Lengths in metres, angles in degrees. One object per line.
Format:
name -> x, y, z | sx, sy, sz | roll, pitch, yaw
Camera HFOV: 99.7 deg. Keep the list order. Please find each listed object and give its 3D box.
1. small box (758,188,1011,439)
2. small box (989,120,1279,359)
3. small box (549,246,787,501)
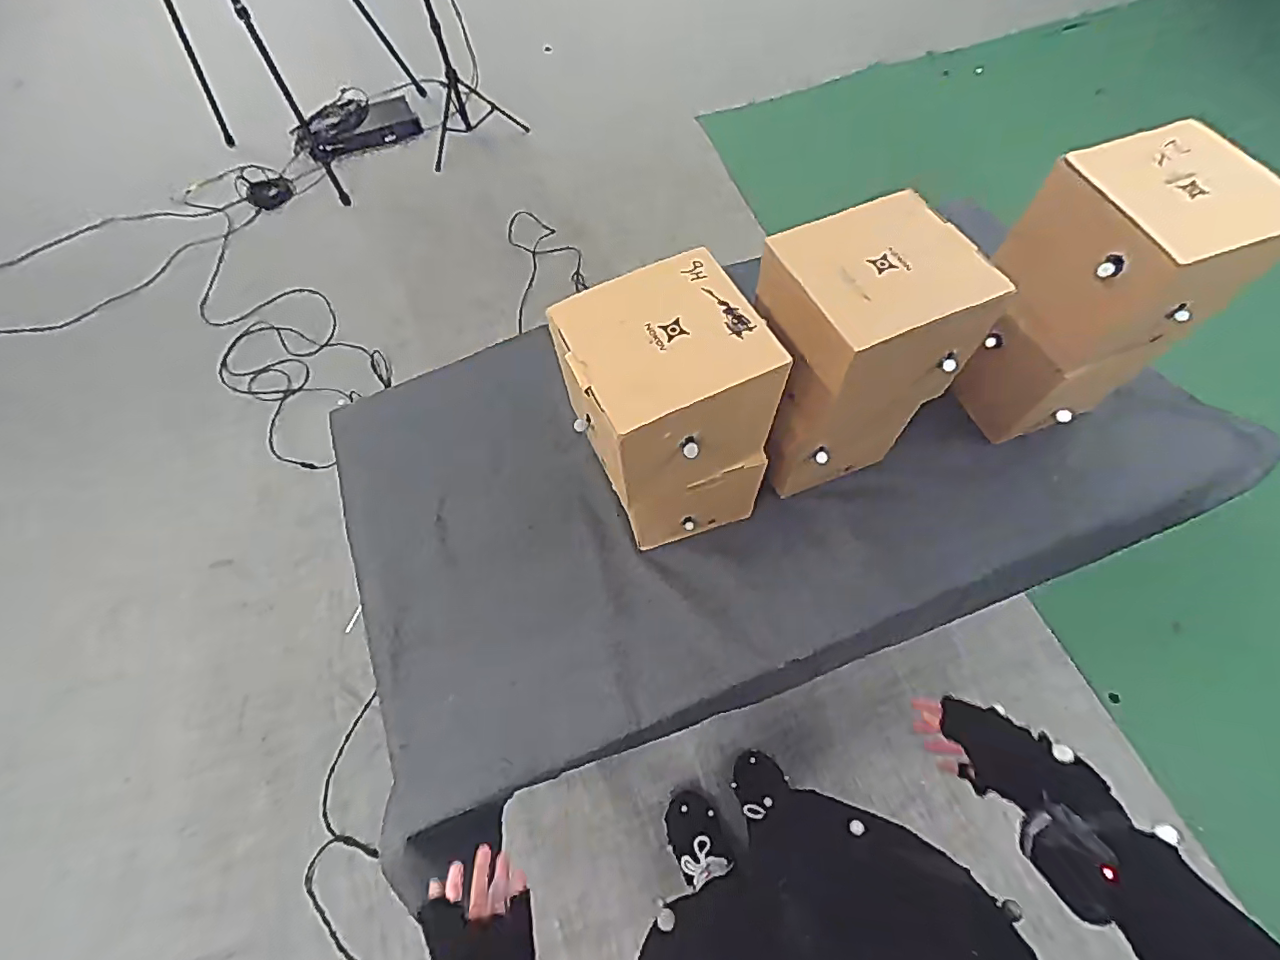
small box -> 0.241, -0.174, 0.596 | 0.179, 0.176, 0.168 | -22, 63, -6
small box -> 0.550, -0.260, 0.617 | 0.168, 0.176, 0.179 | -18, 64, -5
small box -> 0.028, -0.102, 0.573 | 0.179, 0.176, 0.168 | -25, 66, -8
